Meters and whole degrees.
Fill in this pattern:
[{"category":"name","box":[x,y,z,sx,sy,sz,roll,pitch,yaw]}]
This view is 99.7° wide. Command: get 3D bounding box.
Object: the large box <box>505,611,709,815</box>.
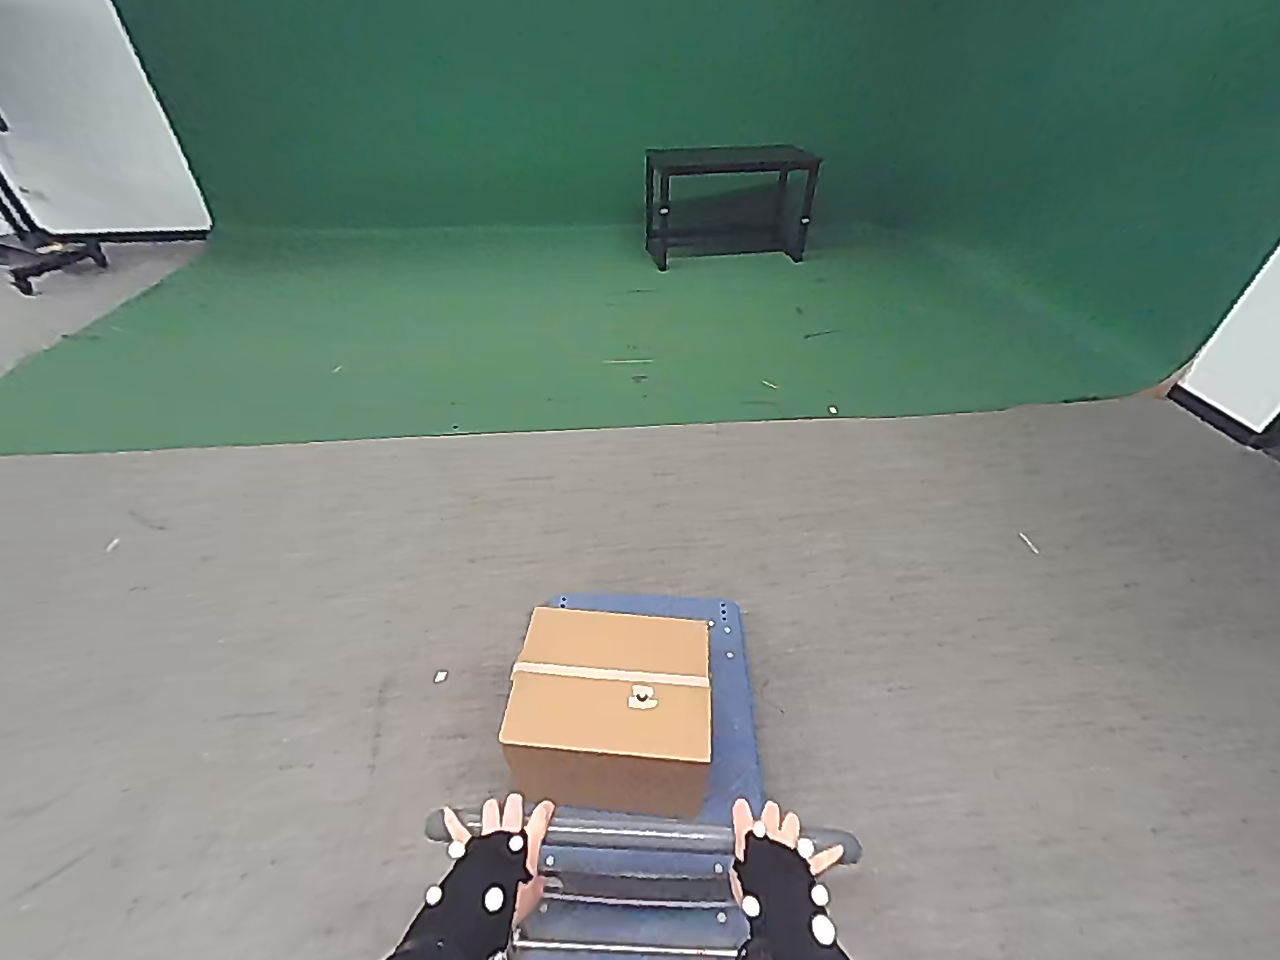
[{"category":"large box","box":[-0.064,0.533,1.241,0.408,0.320,0.320,5,41,2]}]
